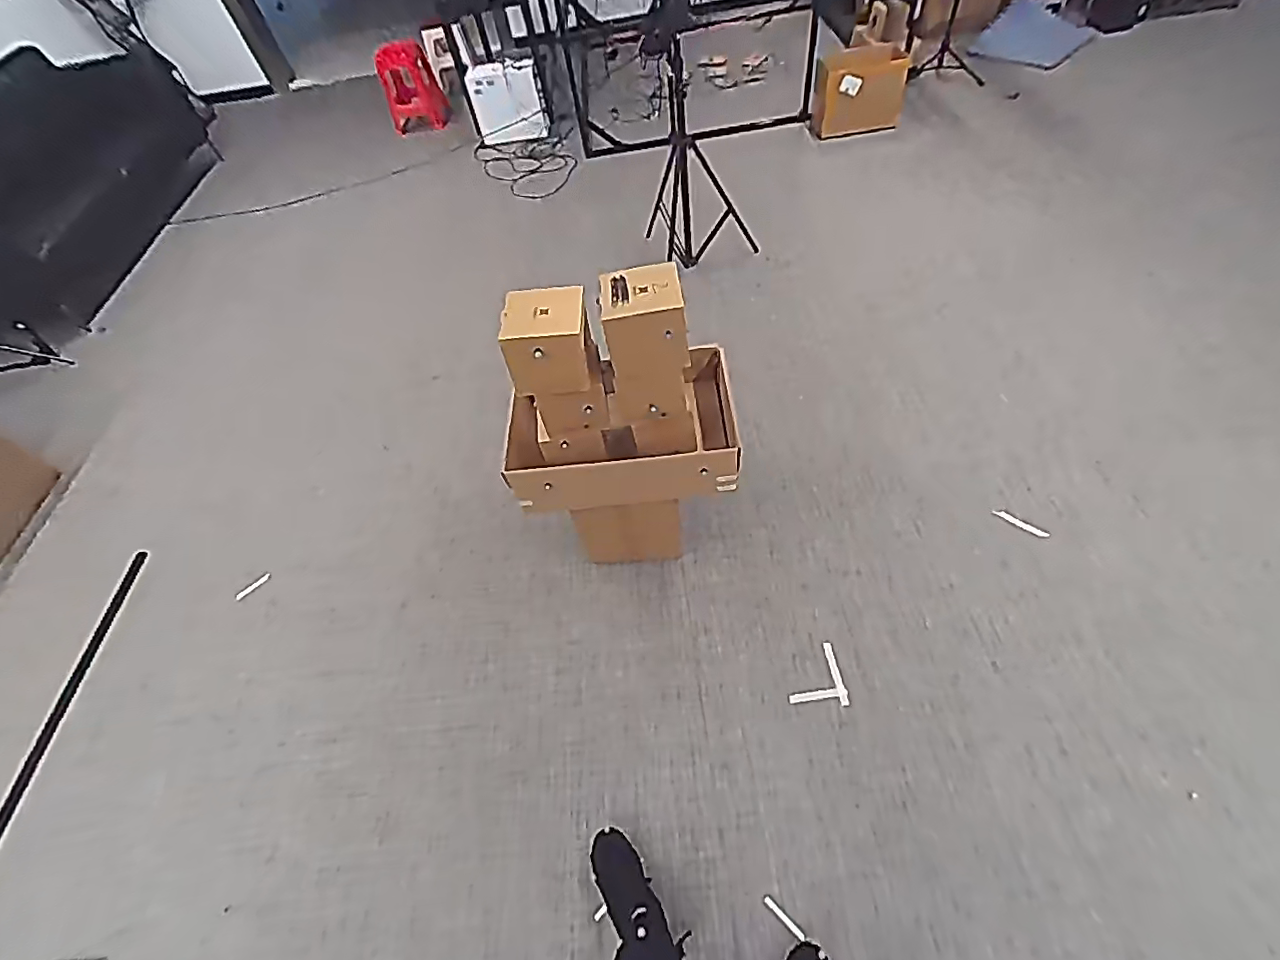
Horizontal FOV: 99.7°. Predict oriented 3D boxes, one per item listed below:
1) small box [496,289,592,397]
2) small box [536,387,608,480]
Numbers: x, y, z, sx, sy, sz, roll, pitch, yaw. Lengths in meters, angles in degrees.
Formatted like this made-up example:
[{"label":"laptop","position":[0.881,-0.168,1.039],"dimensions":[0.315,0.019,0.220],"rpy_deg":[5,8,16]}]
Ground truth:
[{"label":"small box","position":[-0.207,-0.305,1.223],"dimensions":[0.179,0.176,0.168],"rpy_deg":[-4,54,4]},{"label":"small box","position":[-0.187,-0.126,1.493],"dimensions":[0.168,0.176,0.179],"rpy_deg":[-10,54,1]}]
